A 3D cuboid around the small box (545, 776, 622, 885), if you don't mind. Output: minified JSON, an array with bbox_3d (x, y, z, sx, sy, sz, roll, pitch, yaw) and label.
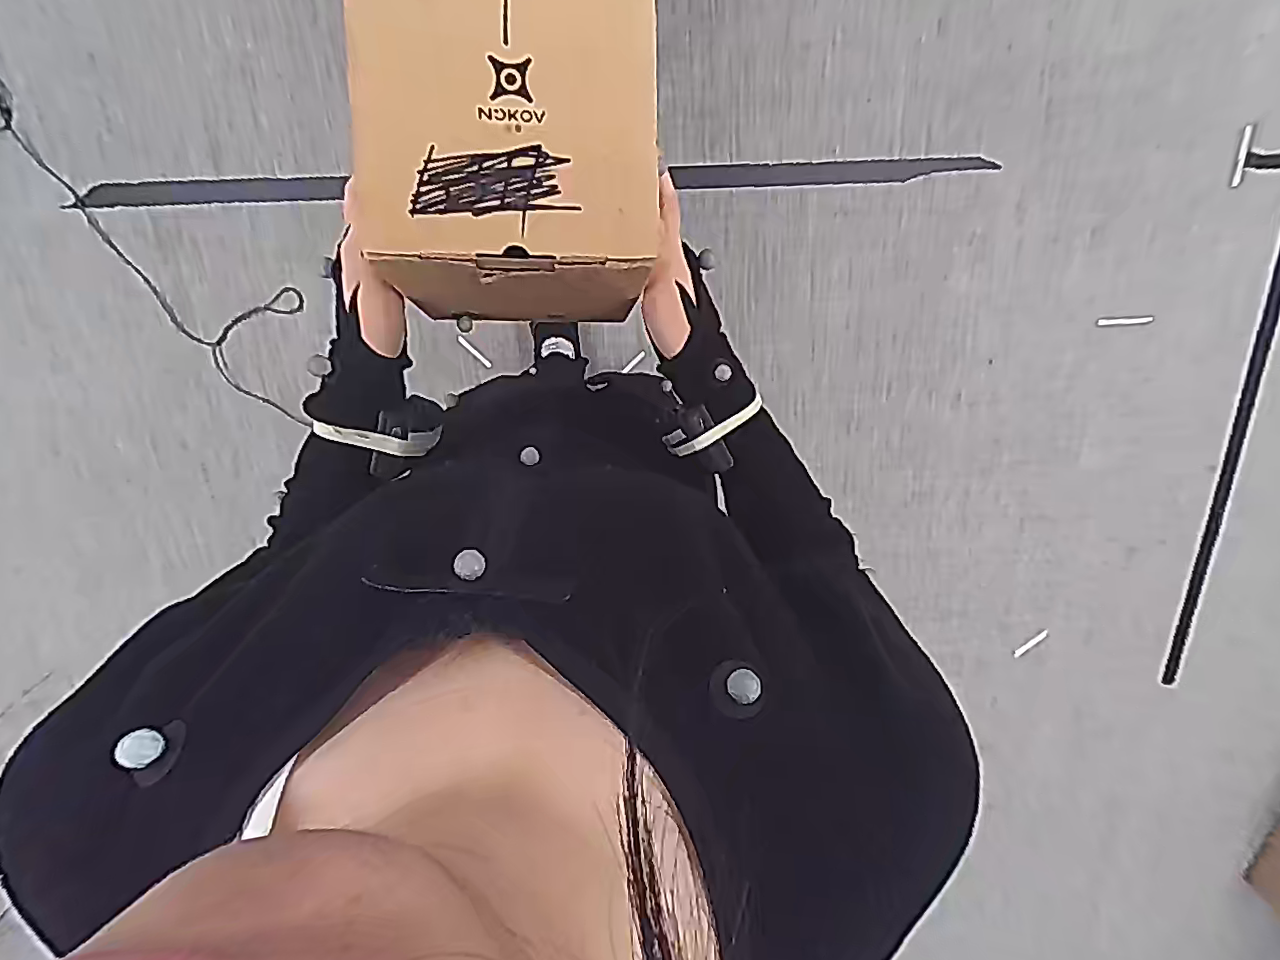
[{"bbox_3d":[-0.142,0.892,1.390,0.179,0.176,0.168,-4,106,-2],"label":"small box"}]

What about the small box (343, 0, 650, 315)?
[{"bbox_3d":[-0.086,-0.219,0.376,0.168,0.176,0.179,-1,94,-9],"label":"small box"}]
